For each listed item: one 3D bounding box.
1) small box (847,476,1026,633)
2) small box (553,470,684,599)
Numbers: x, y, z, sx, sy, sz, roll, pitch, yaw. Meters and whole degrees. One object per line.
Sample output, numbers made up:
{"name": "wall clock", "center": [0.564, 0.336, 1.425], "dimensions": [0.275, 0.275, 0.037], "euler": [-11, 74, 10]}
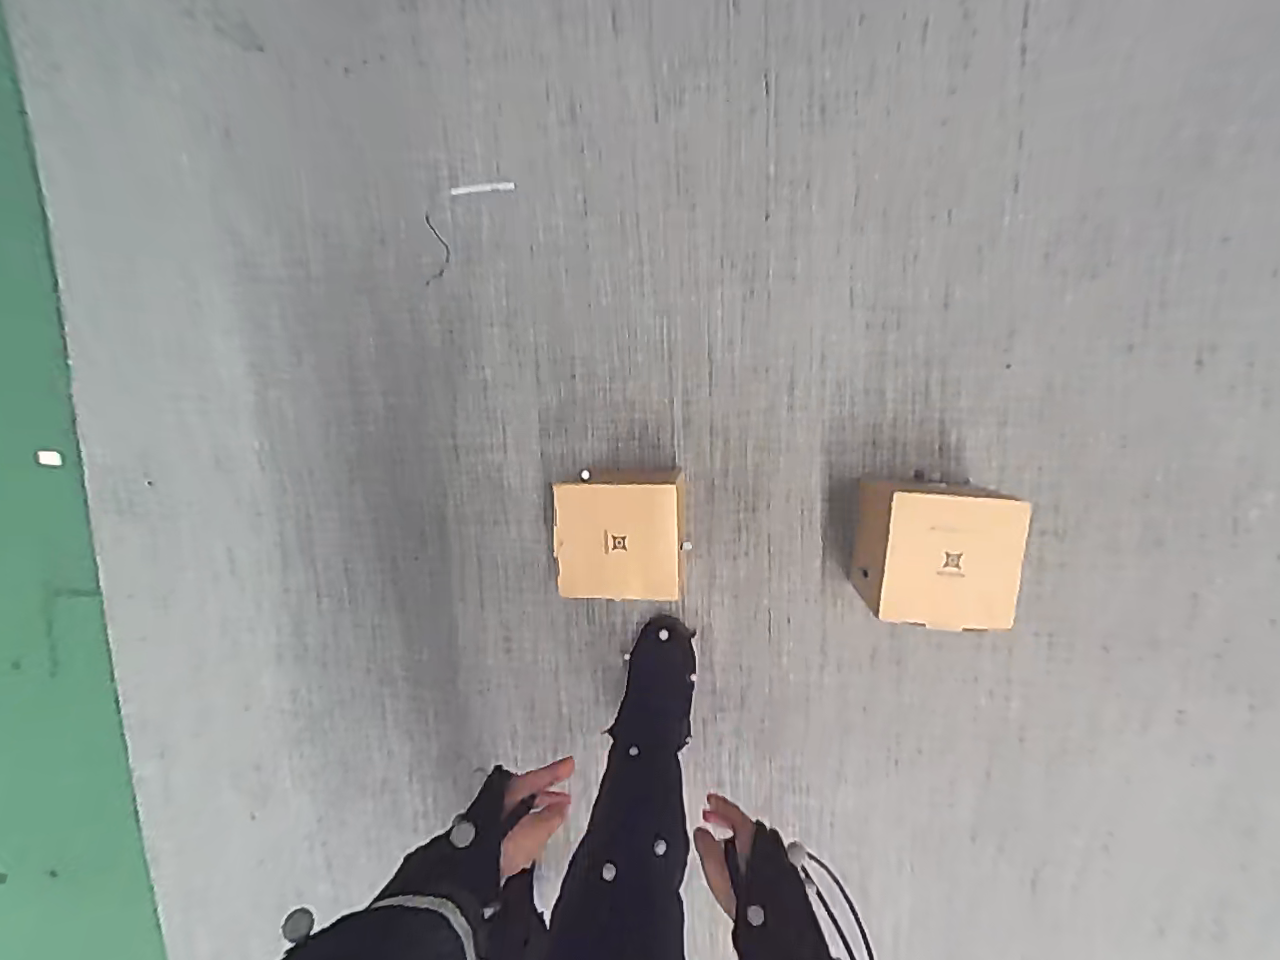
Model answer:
{"name": "small box", "center": [0.402, 0.095, 0.767], "dimensions": [0.168, 0.176, 0.179], "euler": [4, 97, 7]}
{"name": "small box", "center": [-0.024, 0.074, 0.828], "dimensions": [0.179, 0.176, 0.168], "euler": [0, 97, 9]}
